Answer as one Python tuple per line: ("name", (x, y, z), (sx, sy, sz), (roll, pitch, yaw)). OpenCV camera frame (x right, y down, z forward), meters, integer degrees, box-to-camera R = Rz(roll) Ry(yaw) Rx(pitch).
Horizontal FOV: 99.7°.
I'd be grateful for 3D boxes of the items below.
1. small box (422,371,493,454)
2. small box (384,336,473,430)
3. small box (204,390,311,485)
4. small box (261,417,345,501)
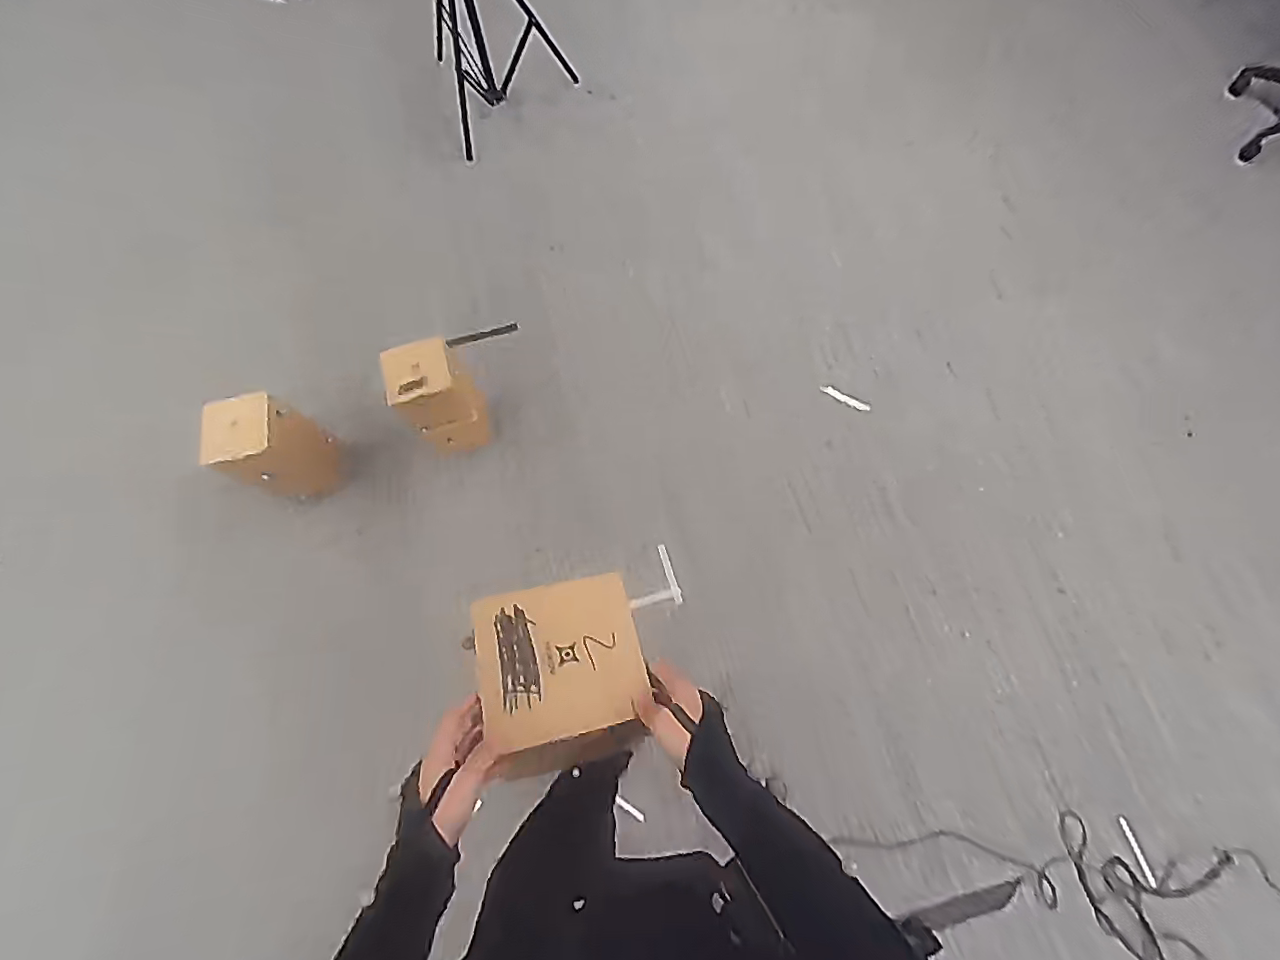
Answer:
("small box", (-0.553, -0.193, 1.621), (0.168, 0.176, 0.179), (-17, 69, -5))
("small box", (-0.569, -0.253, 1.469), (0.168, 0.176, 0.179), (-17, 69, -5))
("small box", (-0.997, -0.108, 1.423), (0.168, 0.176, 0.179), (-13, 70, -2))
("small box", (-0.987, -0.057, 1.579), (0.168, 0.176, 0.179), (-12, 70, -3))
